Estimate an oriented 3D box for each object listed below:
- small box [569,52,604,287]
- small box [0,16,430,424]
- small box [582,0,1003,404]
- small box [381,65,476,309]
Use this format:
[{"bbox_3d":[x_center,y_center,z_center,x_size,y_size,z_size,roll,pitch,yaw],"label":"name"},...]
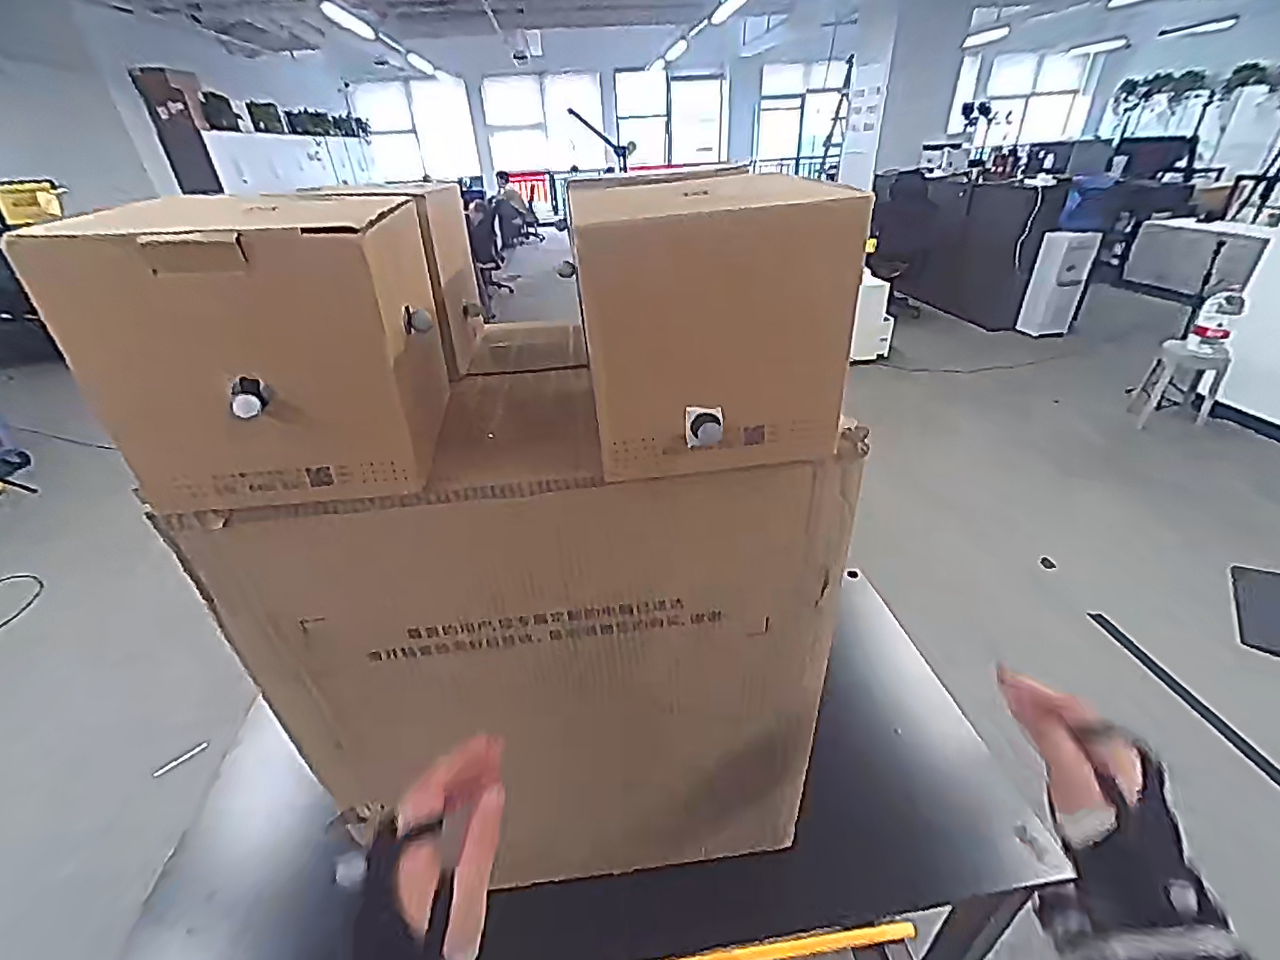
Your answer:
[{"bbox_3d":[0.025,-0.281,0.505,0.168,0.176,0.179,-8,30,-5],"label":"small box"},{"bbox_3d":[-0.225,-0.139,0.302,0.168,0.176,0.179,-5,35,-10],"label":"small box"},{"bbox_3d":[0.059,-0.162,0.322,0.168,0.176,0.179,-9,35,-4],"label":"small box"},{"bbox_3d":[-0.258,-0.244,0.474,0.179,0.176,0.168,-4,31,-4],"label":"small box"}]
